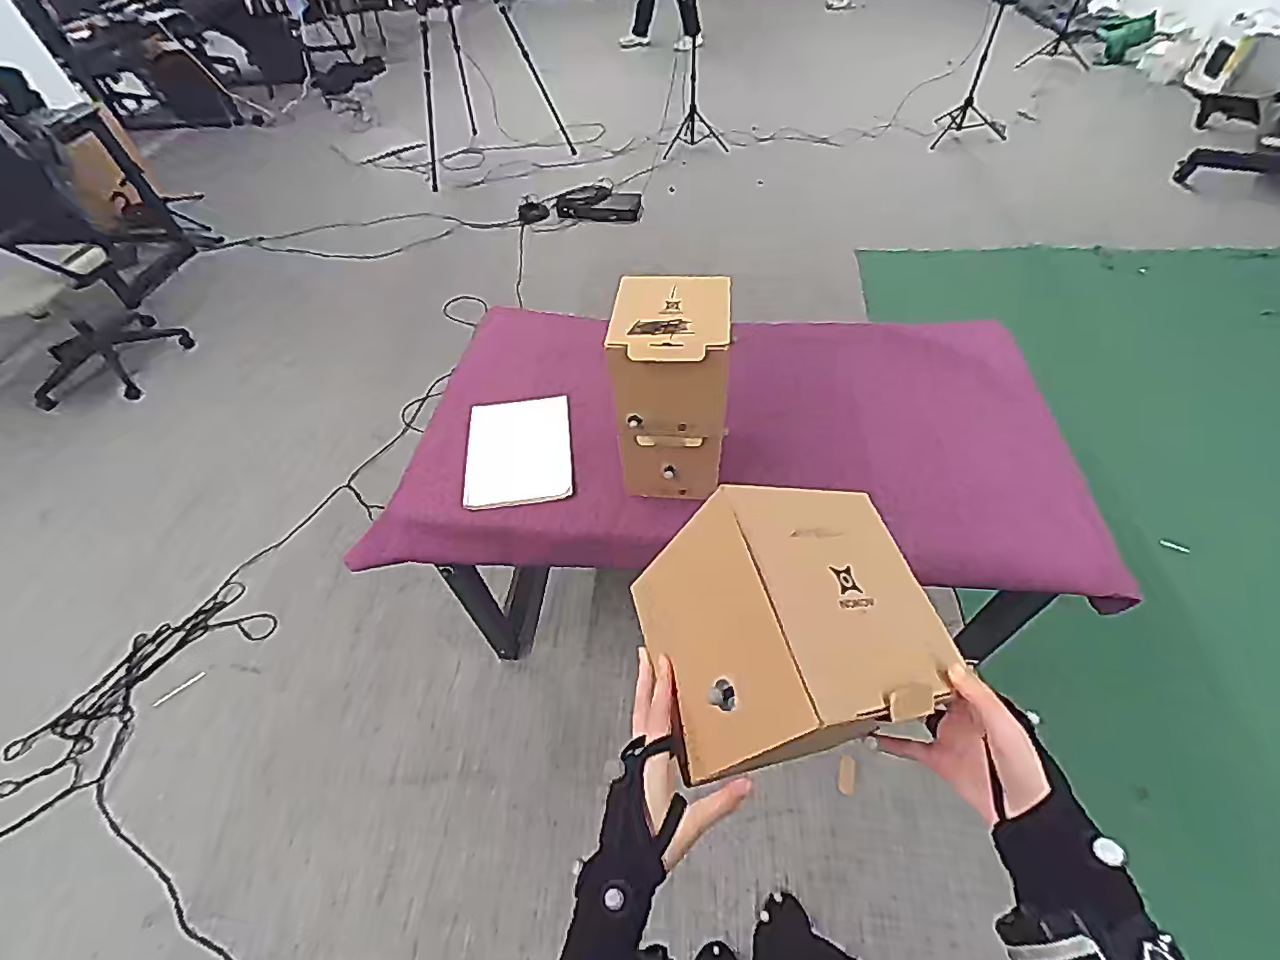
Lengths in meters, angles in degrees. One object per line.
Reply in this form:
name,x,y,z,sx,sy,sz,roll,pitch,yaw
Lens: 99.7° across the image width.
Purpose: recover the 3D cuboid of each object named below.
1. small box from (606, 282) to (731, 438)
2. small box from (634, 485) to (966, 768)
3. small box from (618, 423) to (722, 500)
small box,0.050,-0.181,0.825,0.168,0.176,0.179,3,50,7
small box,0.114,0.126,0.455,0.168,0.176,0.179,5,51,-29
small box,0.061,-0.080,0.956,0.168,0.176,0.179,3,52,7
